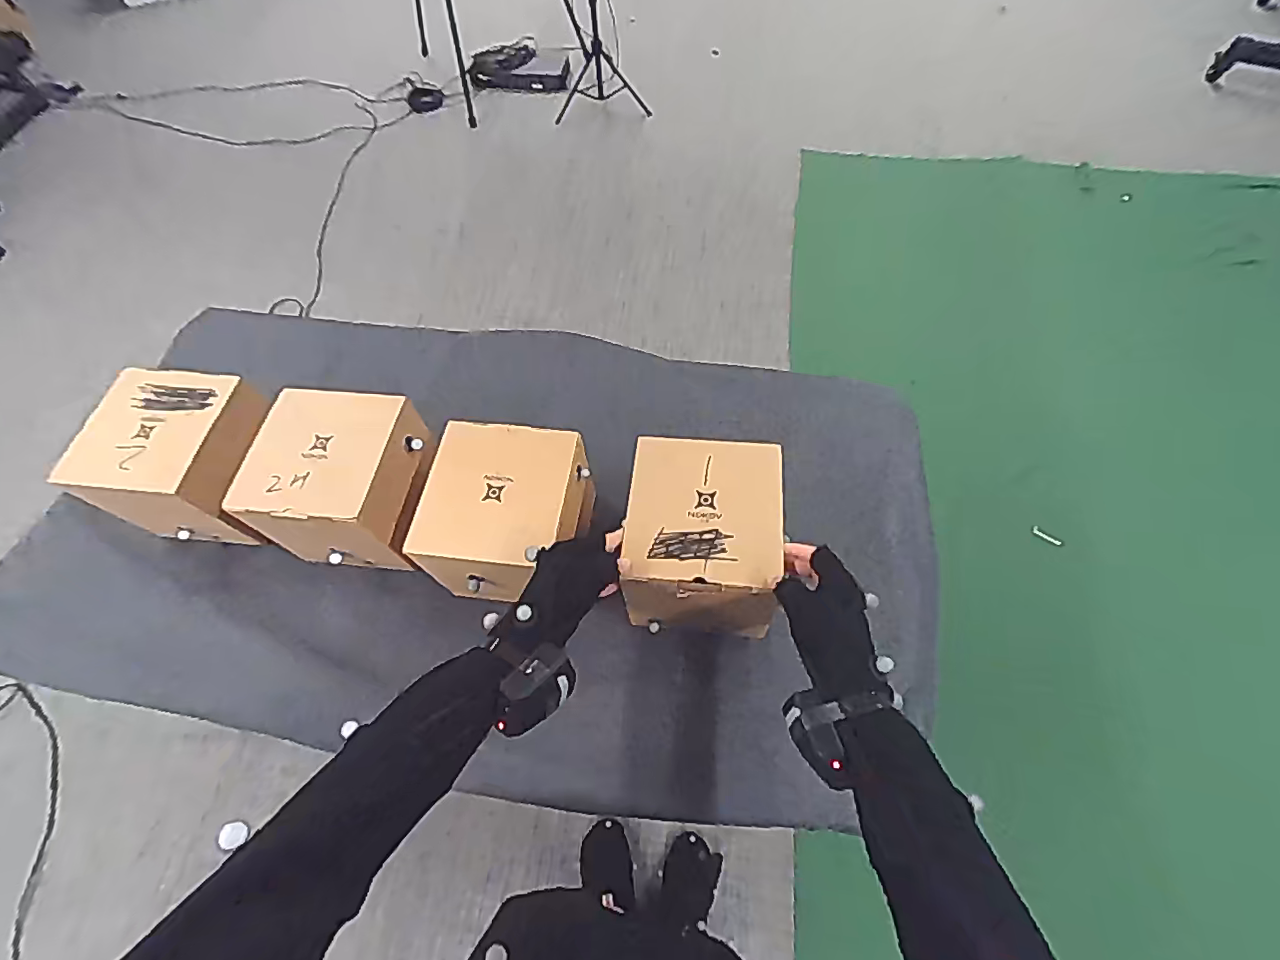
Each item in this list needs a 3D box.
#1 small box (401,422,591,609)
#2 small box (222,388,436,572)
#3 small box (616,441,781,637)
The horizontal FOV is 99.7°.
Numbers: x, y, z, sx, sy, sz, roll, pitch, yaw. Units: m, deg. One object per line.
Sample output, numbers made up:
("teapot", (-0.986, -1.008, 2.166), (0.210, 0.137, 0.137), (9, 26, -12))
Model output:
("small box", (-0.161, 0.051, 0.677), (0.168, 0.176, 0.179), (6, 61, 5))
("small box", (-0.378, 0.004, 0.709), (0.168, 0.176, 0.179), (5, 61, 5))
("small box", (0.073, 0.075, 0.640), (0.168, 0.176, 0.179), (4, 58, 7))
